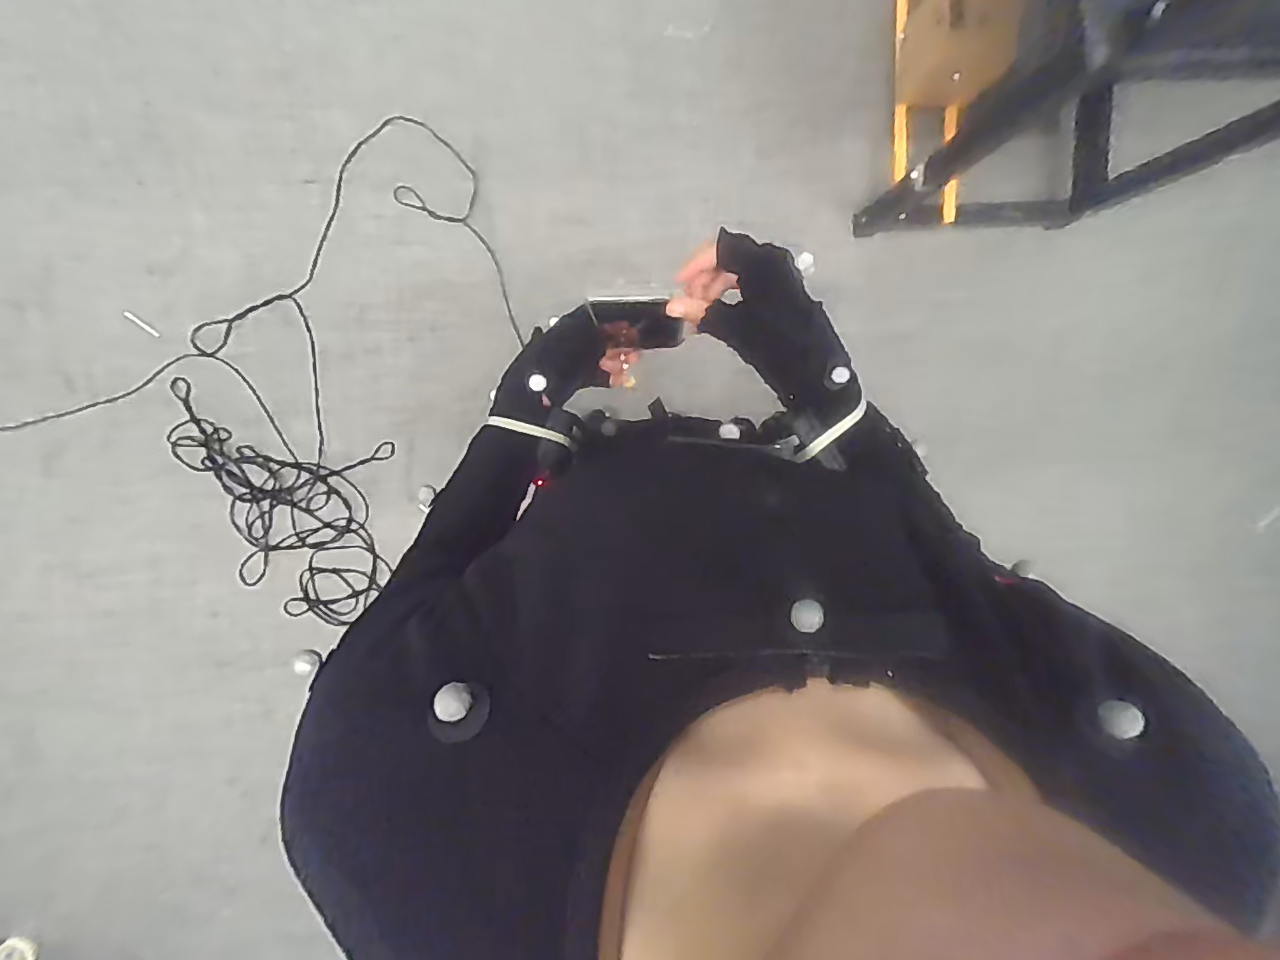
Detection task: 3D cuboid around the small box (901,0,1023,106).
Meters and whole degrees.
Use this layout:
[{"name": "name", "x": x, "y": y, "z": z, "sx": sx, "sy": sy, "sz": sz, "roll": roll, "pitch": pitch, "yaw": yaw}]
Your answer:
[{"name": "small box", "x": 0.704, "y": -0.964, "z": 1.199, "sx": 0.179, "sy": 0.176, "sz": 0.168, "roll": 0, "pitch": 97, "yaw": -2}]
